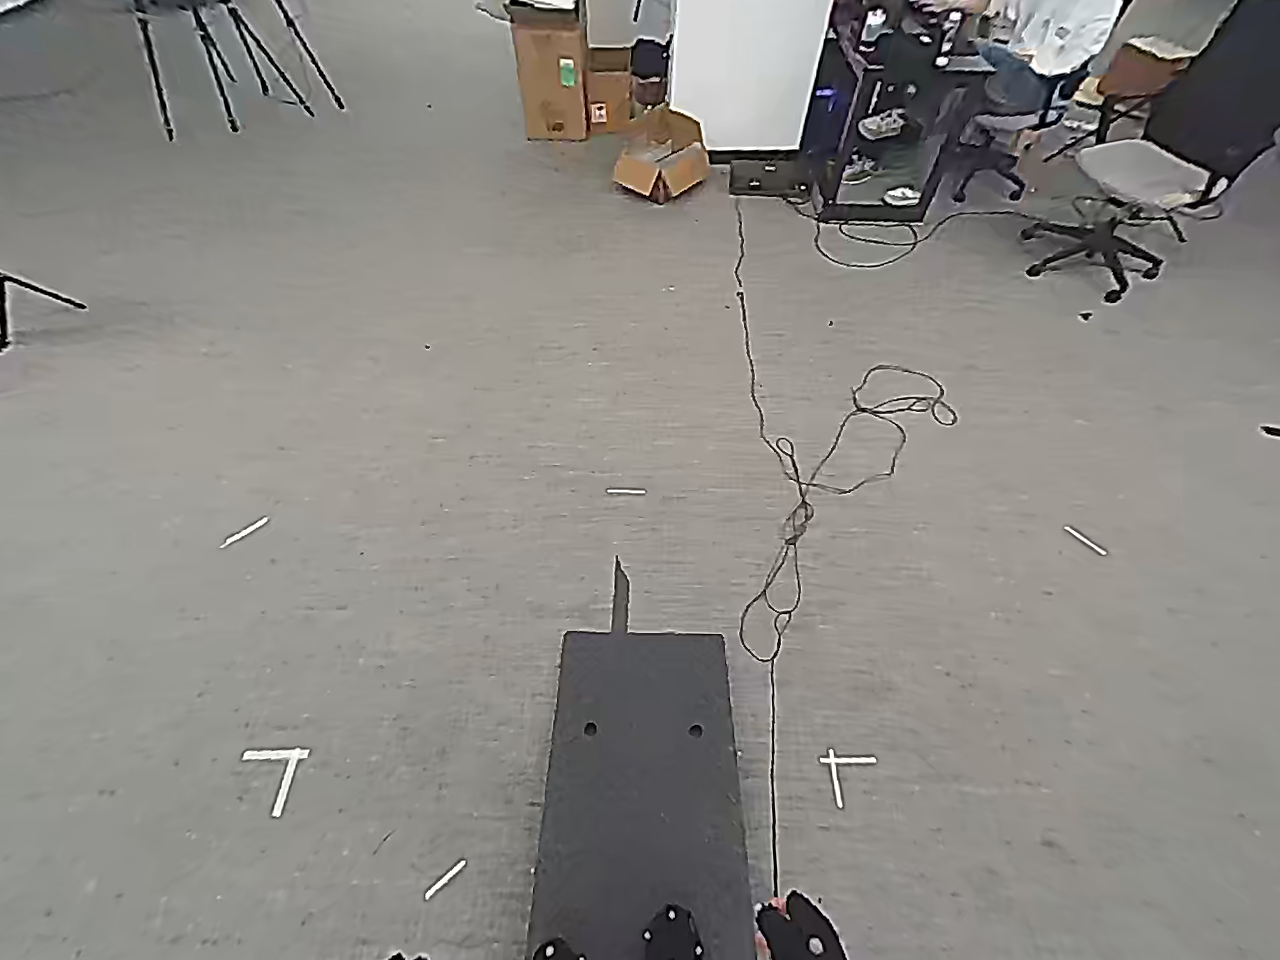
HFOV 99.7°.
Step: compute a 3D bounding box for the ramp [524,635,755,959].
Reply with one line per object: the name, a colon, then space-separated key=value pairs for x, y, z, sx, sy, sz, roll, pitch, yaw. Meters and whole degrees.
ramp: x=0.001 y=0.828 z=1.310 sx=0.509 sy=0.206 sz=0.991 roll=-1 pitch=54 yaw=0
